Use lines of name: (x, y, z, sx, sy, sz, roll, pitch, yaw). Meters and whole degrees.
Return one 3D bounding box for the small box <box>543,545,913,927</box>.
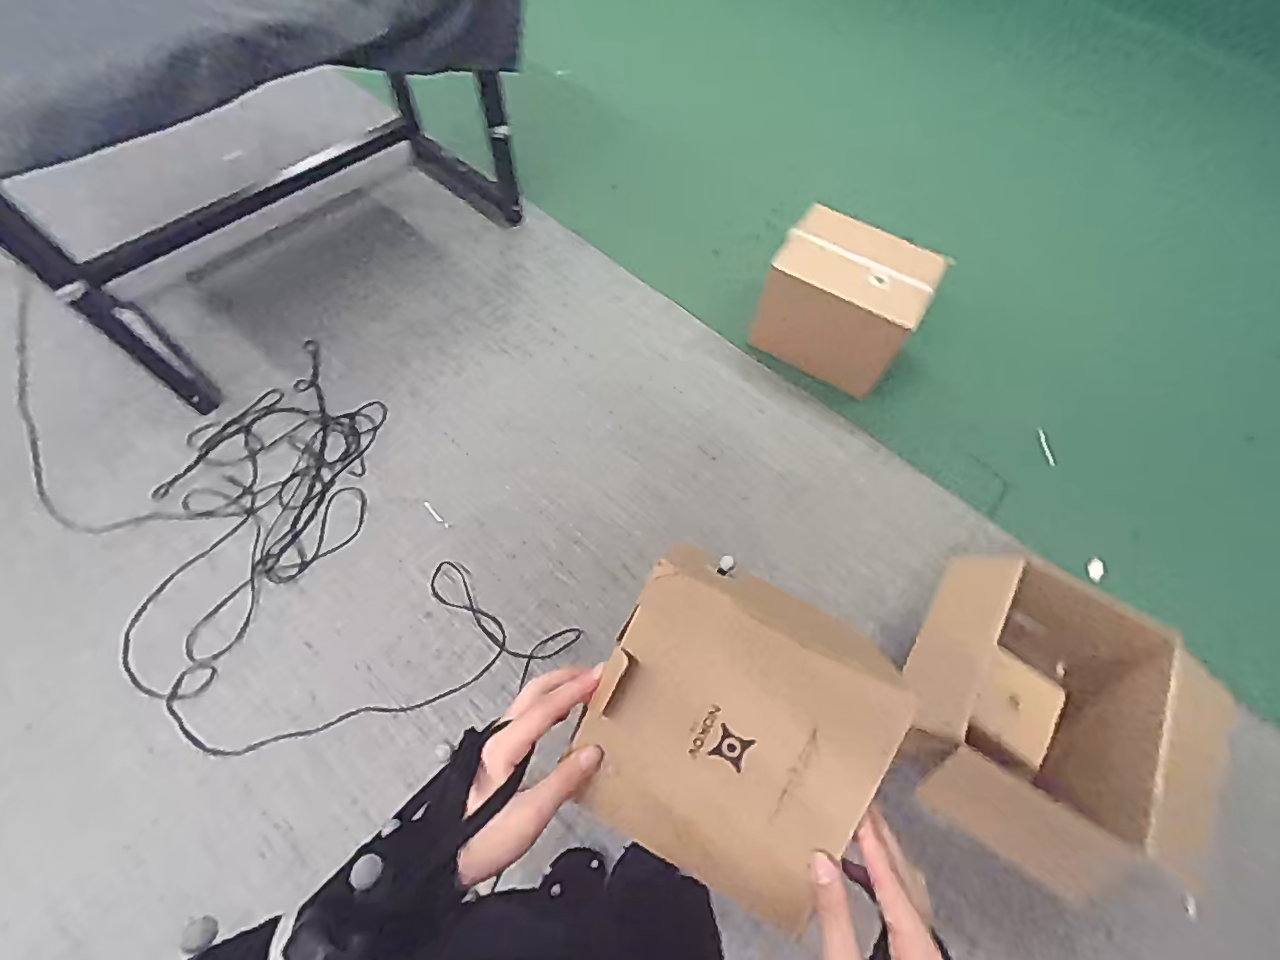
small box: (0.059, 0.158, 0.405, 0.179, 0.176, 0.168, 25, 92, 8)
